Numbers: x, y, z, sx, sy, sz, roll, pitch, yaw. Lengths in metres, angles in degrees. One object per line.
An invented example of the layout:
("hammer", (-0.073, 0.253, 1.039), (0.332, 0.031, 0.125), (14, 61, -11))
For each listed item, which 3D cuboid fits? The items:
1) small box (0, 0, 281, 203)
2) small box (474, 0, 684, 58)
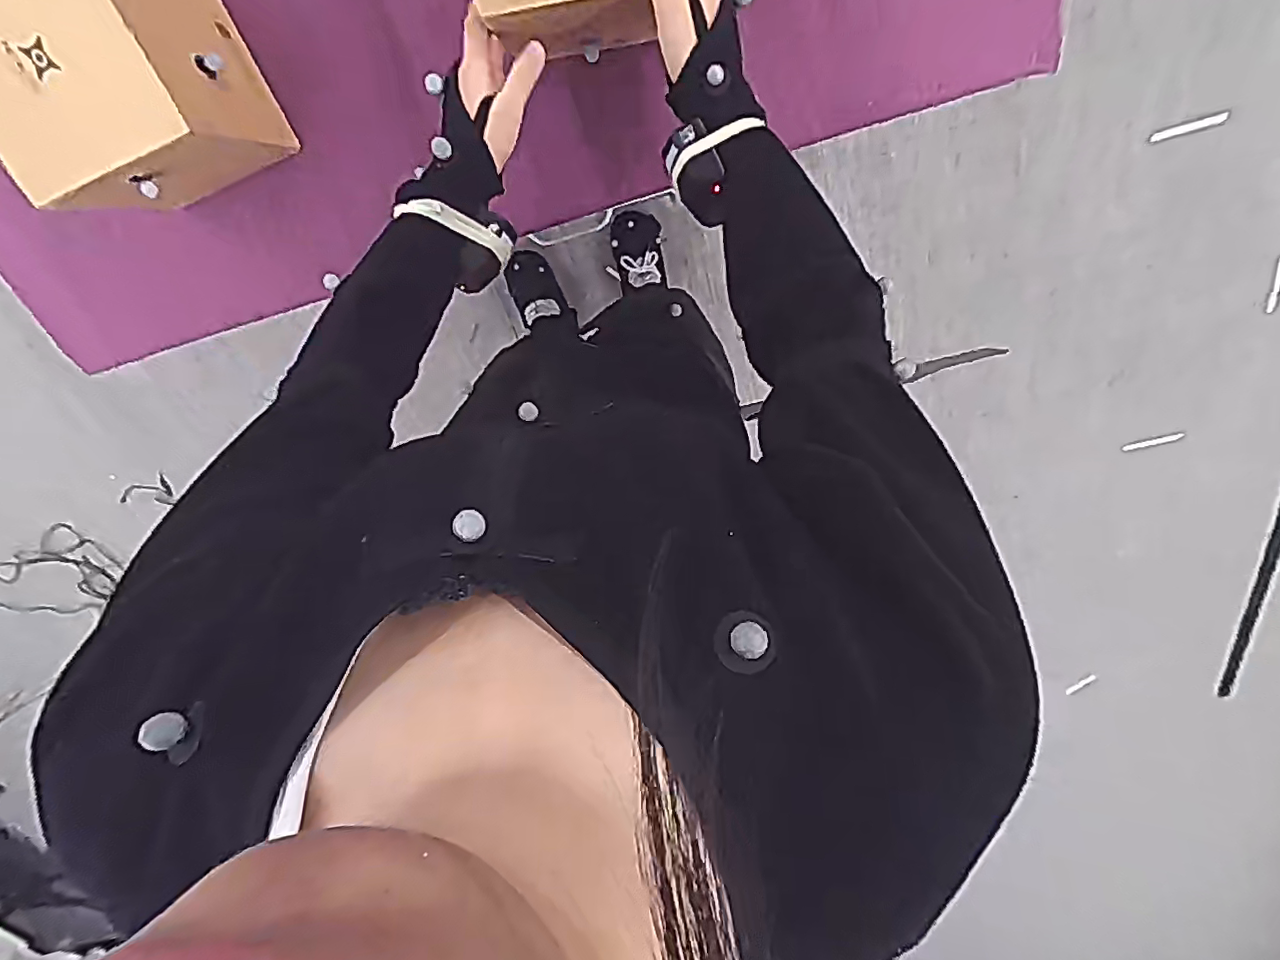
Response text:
("small box", (-0.477, -0.375, 0.497), (0.179, 0.176, 0.168), (-17, 117, 10))
("small box", (-0.054, -0.475, 0.436), (0.168, 0.176, 0.179), (-6, 119, 4))
